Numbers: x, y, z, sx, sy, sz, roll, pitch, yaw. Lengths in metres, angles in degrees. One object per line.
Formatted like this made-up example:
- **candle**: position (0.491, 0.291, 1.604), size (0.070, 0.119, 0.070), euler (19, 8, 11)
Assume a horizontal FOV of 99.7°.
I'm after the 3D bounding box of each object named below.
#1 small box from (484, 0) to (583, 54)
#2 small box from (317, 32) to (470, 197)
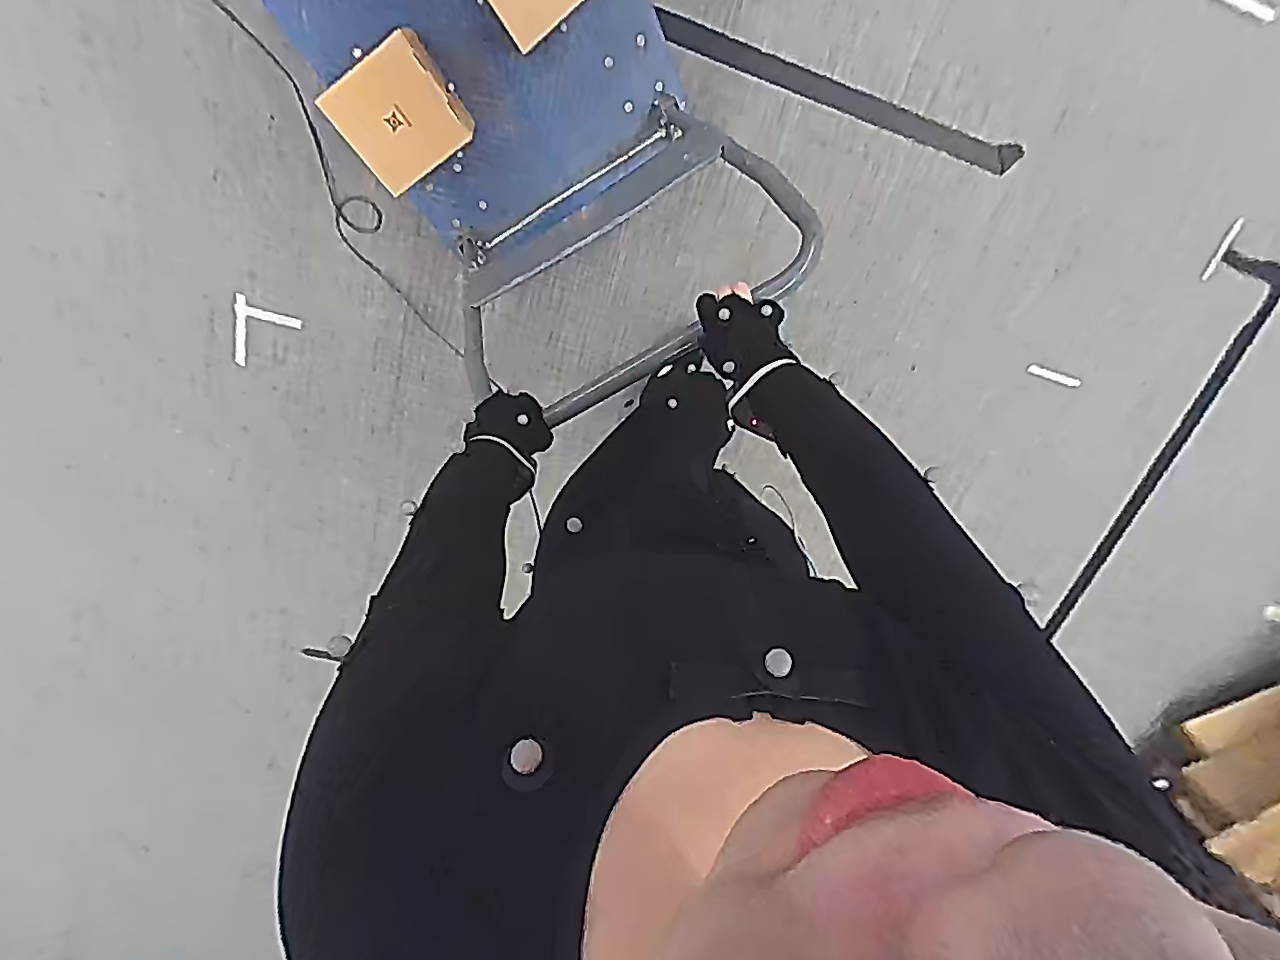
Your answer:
- **small box**: position (-0.176, -0.815, 0.848), size (0.179, 0.176, 0.168), euler (-33, 130, 14)
- **small box**: position (-0.413, -0.633, 0.941), size (0.179, 0.176, 0.168), euler (-32, 130, 11)
